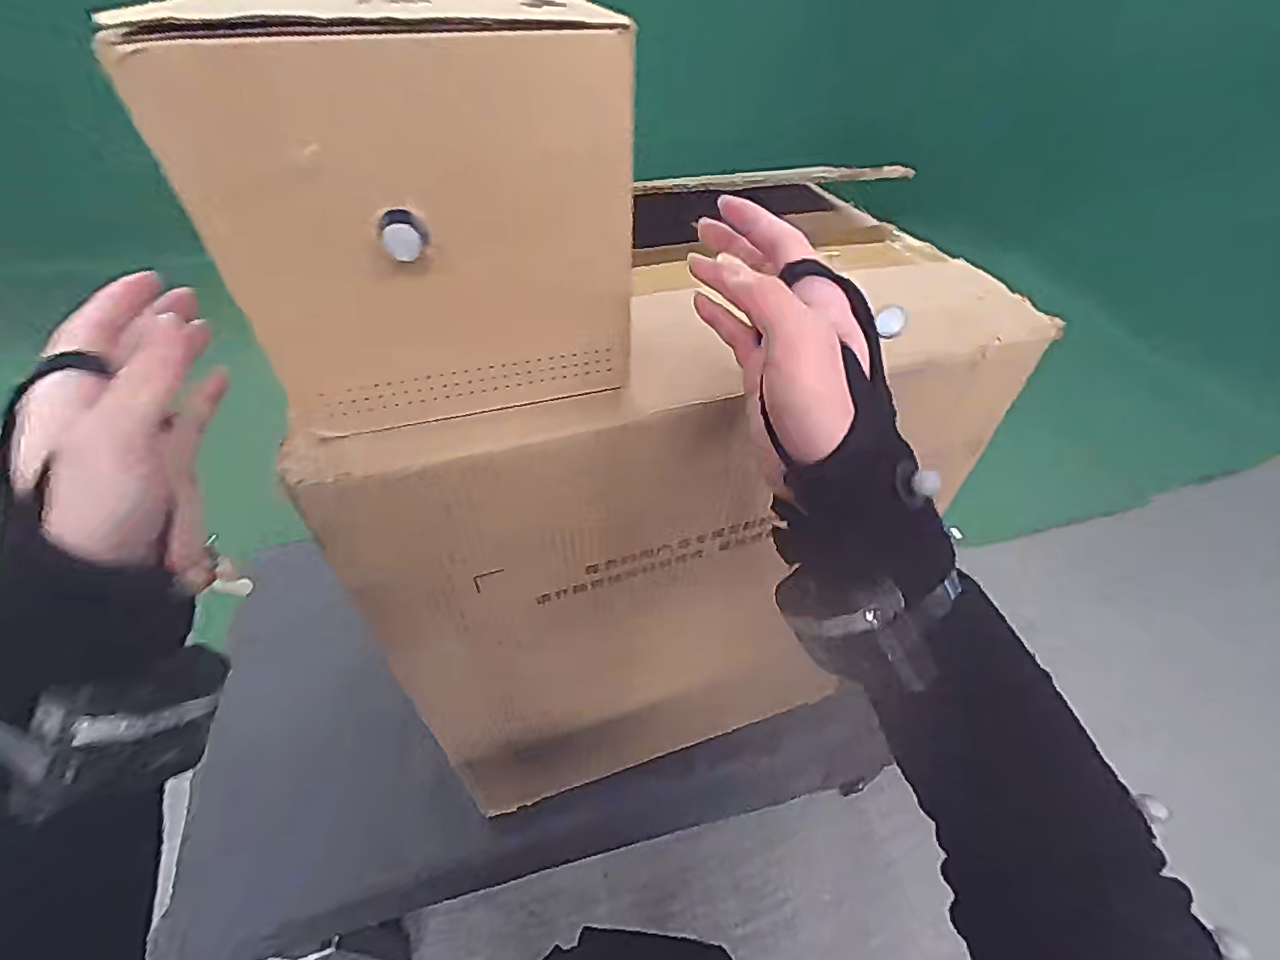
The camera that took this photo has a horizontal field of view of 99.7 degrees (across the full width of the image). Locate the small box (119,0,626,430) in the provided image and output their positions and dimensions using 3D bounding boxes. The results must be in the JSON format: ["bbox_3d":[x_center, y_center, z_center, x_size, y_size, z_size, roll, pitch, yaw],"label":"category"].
[{"bbox_3d":[-0.113,-0.148,0.304,0.179,0.176,0.168,-14,48,-13],"label":"small box"}]
